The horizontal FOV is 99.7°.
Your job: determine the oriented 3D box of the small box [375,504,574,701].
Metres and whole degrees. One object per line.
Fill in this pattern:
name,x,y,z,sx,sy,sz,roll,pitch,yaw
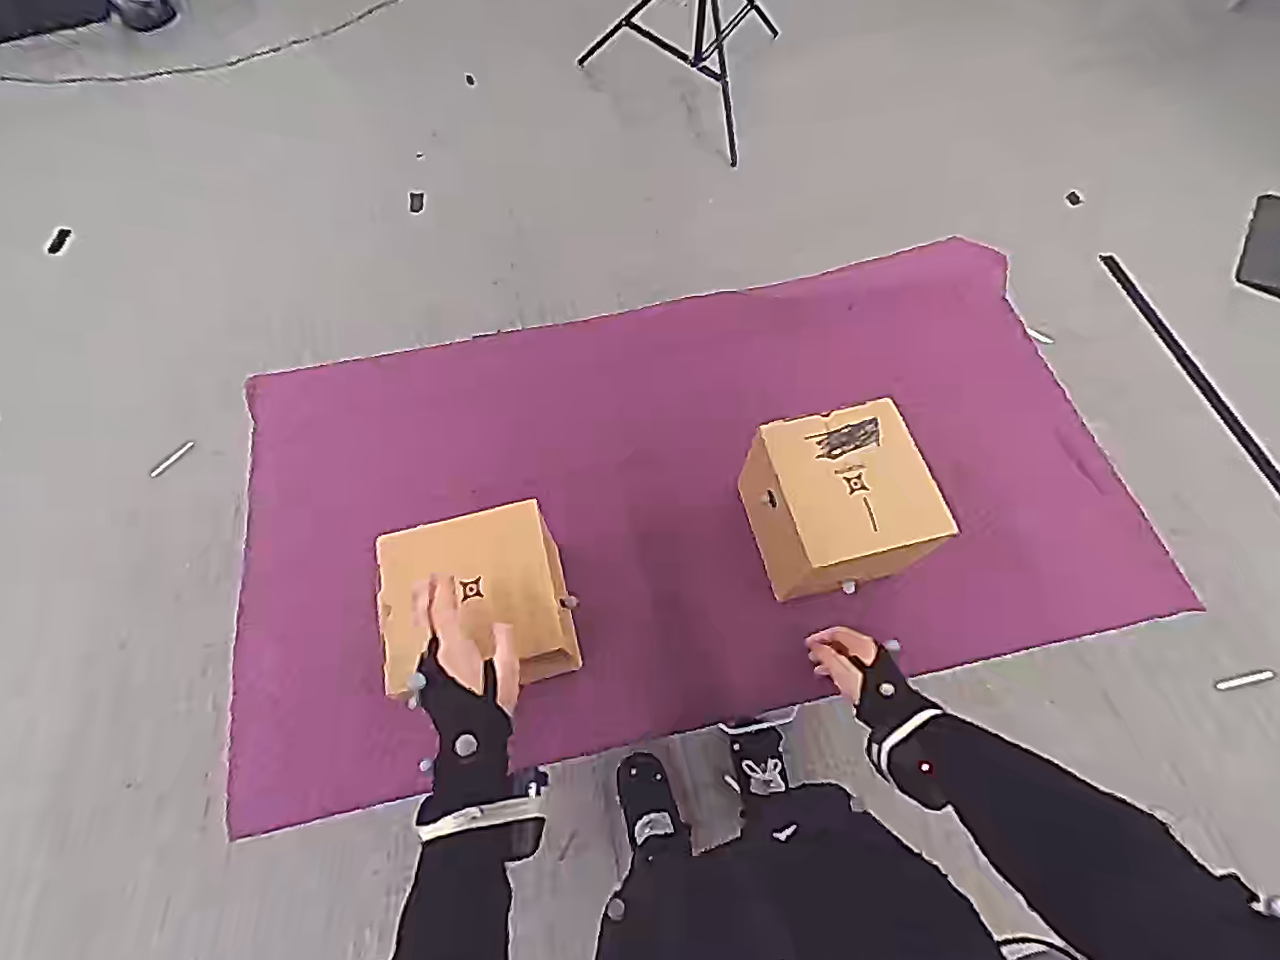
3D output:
small box,-0.179,0.148,0.627,0.179,0.176,0.168,-14,66,-5

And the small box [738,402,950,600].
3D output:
small box,0.231,0.033,0.671,0.168,0.176,0.179,-13,66,-4
